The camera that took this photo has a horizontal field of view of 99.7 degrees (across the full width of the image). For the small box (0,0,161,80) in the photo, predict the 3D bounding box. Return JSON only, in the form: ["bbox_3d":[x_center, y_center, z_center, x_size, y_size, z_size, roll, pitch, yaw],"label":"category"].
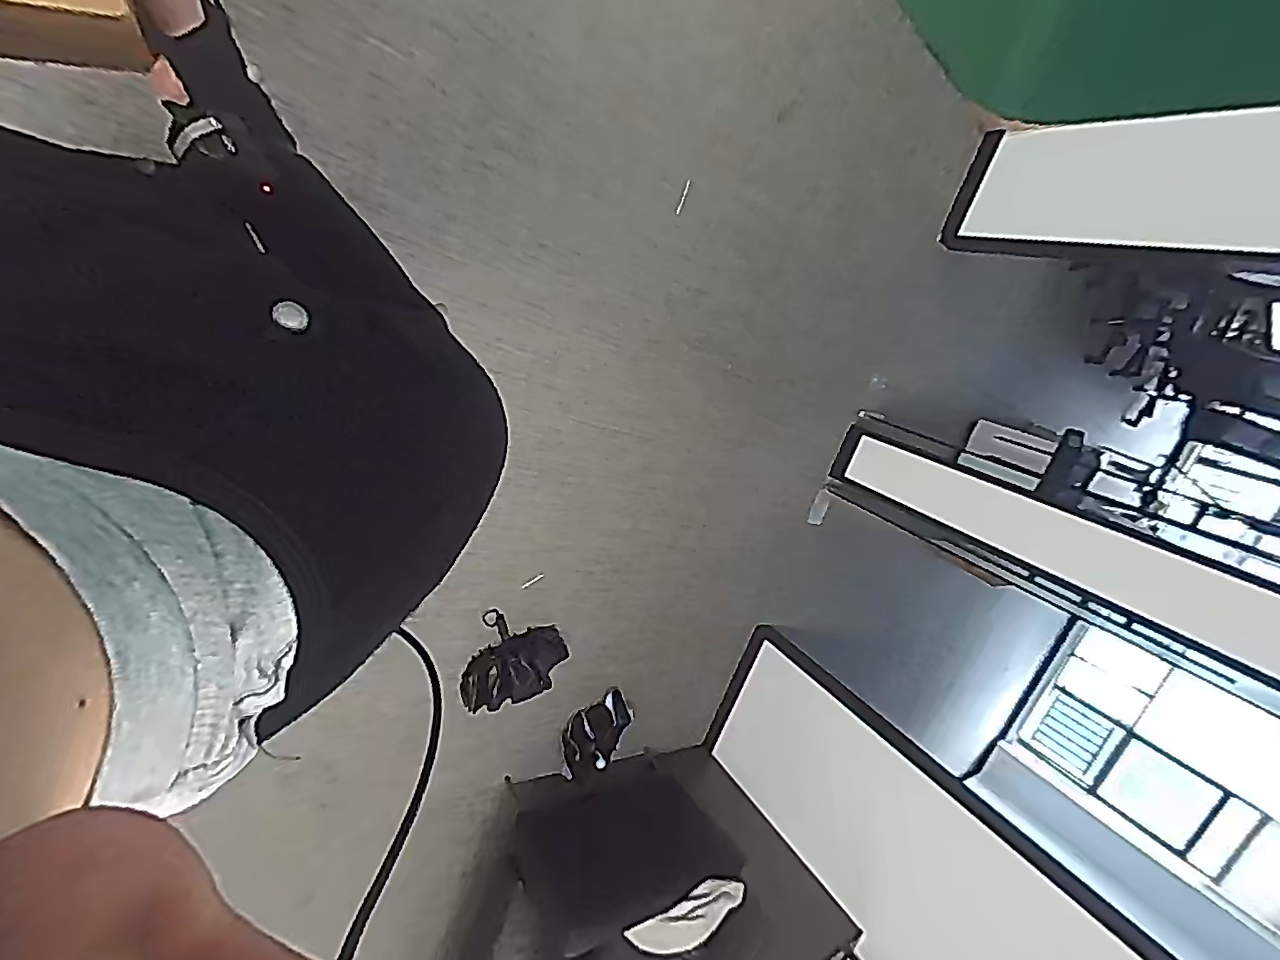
[{"bbox_3d":[-0.424,-0.354,0.315,0.179,0.176,0.168,-18,121,-30],"label":"small box"}]
